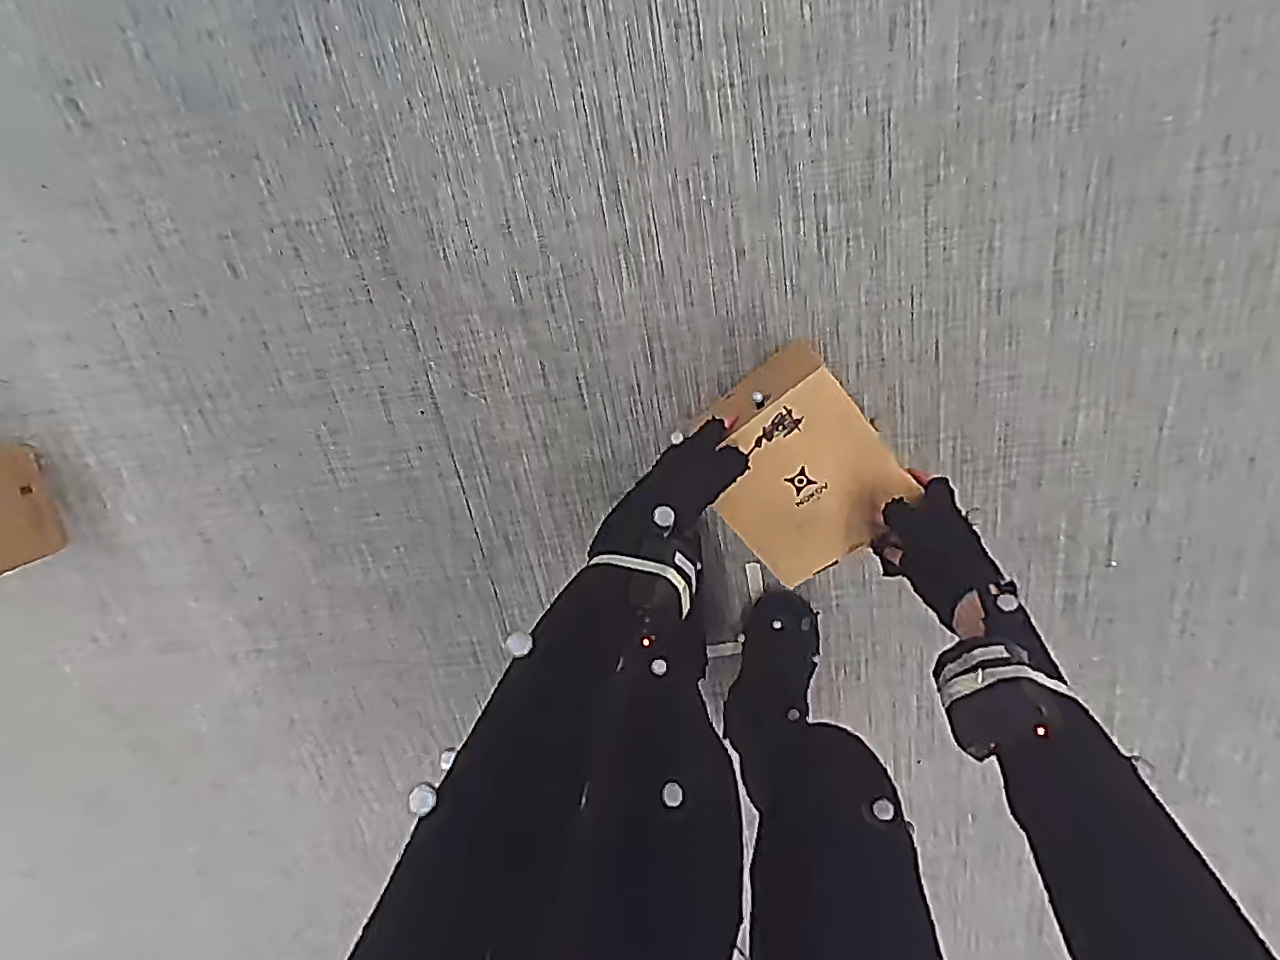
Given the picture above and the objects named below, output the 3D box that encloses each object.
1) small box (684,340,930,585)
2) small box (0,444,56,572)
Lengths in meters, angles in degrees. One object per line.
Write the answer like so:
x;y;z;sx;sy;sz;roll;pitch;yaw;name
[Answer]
0.168;-0.028;0.586;0.168;0.176;0.179;-38;103;20;small box
-0.972;0.046;0.741;0.179;0.176;0.168;4;108;4;small box
